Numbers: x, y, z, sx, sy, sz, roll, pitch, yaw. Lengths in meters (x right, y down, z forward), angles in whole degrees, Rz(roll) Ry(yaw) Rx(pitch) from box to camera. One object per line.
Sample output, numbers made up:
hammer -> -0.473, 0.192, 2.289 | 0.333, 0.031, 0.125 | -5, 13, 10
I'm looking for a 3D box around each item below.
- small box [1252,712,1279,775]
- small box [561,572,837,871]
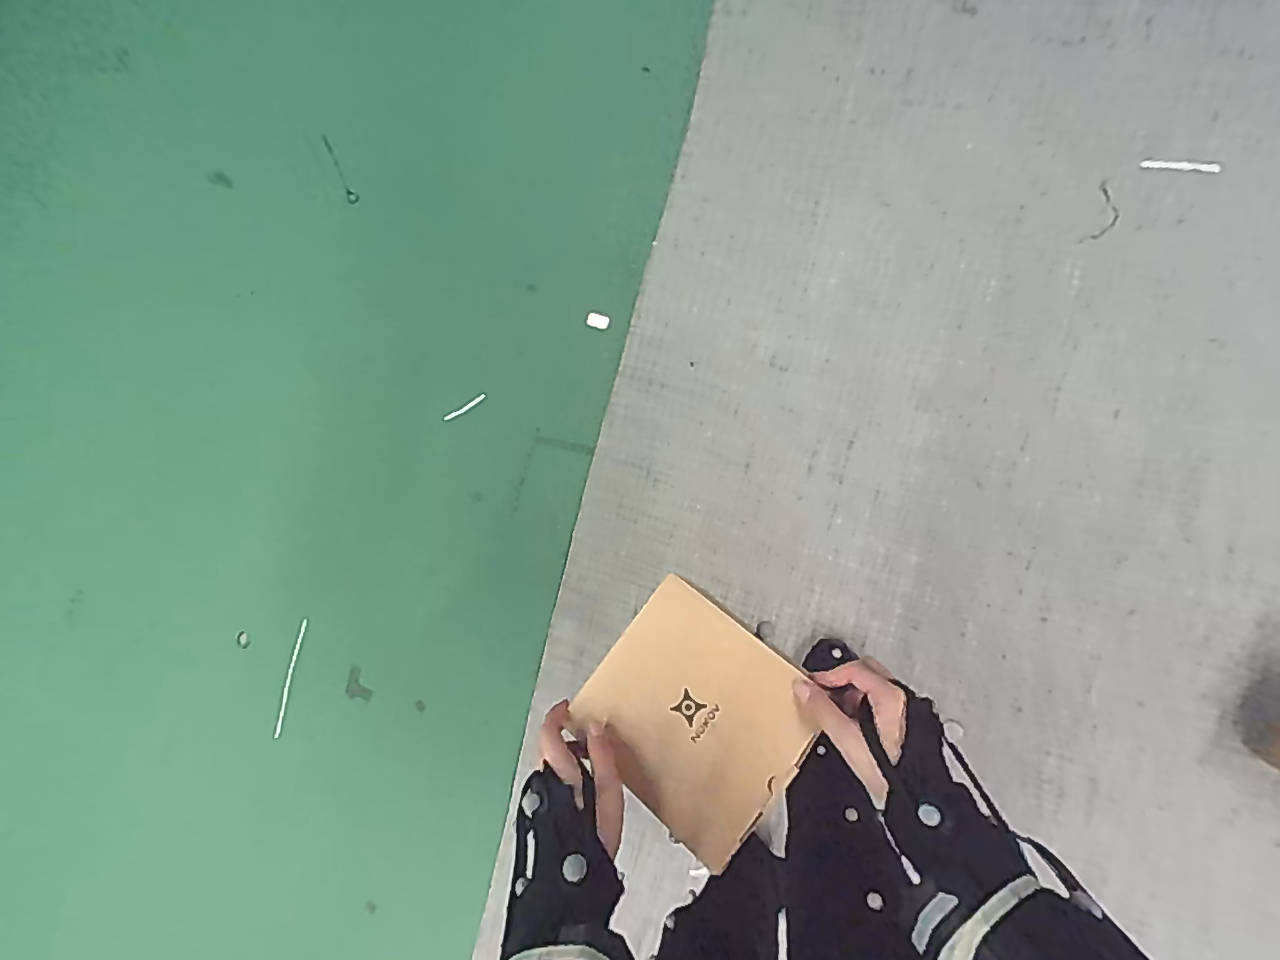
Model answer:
small box -> 1.036, 0.400, 0.736 | 0.179, 0.176, 0.168 | 32, 95, 16
small box -> 0.059, 0.215, 0.525 | 0.179, 0.176, 0.168 | 35, 84, 18
